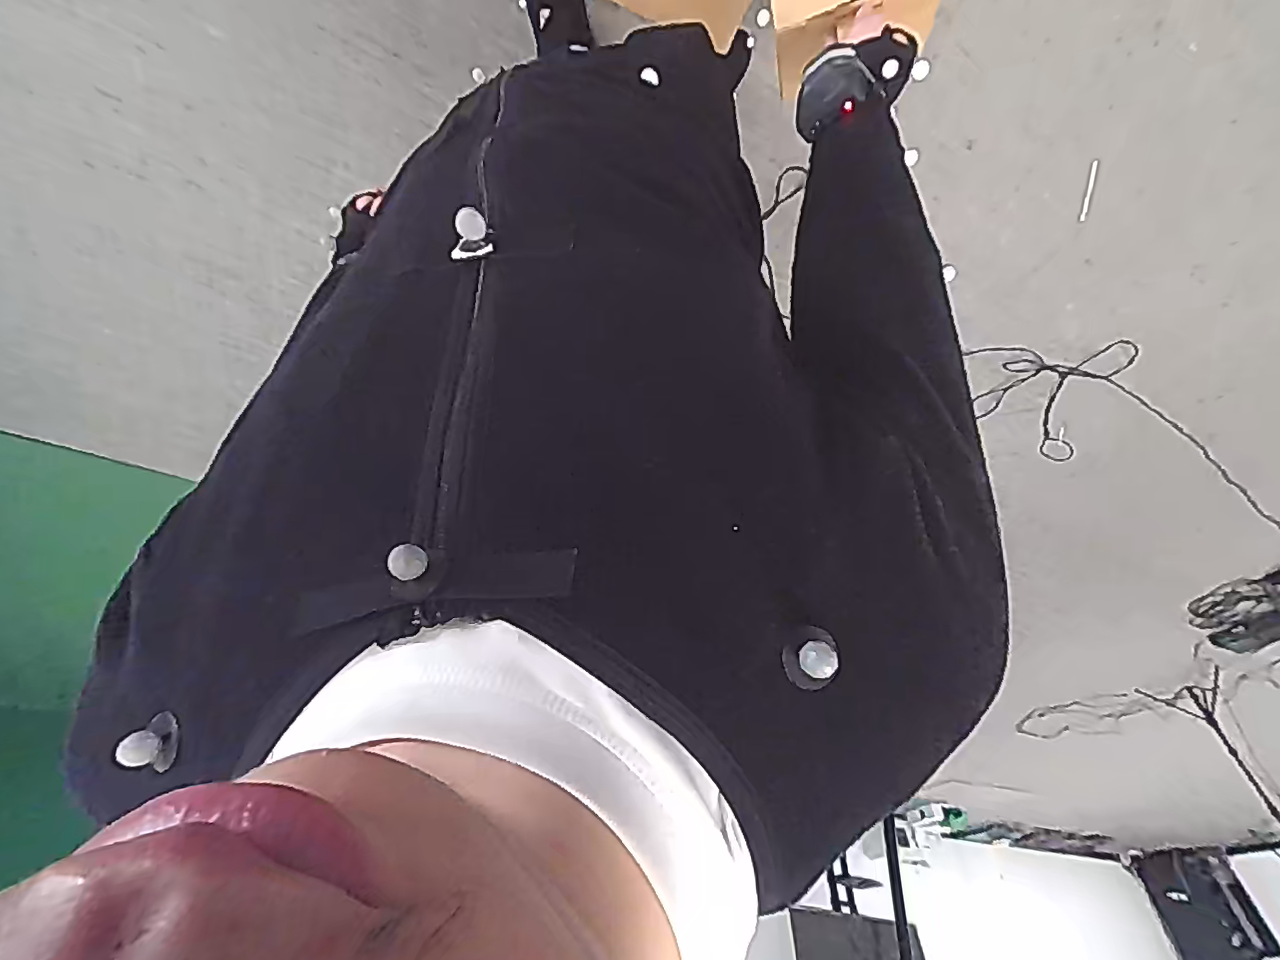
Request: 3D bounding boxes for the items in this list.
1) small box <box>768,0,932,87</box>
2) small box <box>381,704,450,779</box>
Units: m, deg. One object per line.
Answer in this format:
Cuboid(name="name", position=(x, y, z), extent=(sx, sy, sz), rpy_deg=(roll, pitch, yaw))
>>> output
Cuboid(name="small box", position=(0.221, -0.568, 0.585), extent=(0.168, 0.176, 0.179), rpy_deg=(-7, 99, 18))
Cuboid(name="small box", position=(-0.722, 0.843, 1.747), extent=(0.168, 0.176, 0.179), rpy_deg=(14, 135, -12))
